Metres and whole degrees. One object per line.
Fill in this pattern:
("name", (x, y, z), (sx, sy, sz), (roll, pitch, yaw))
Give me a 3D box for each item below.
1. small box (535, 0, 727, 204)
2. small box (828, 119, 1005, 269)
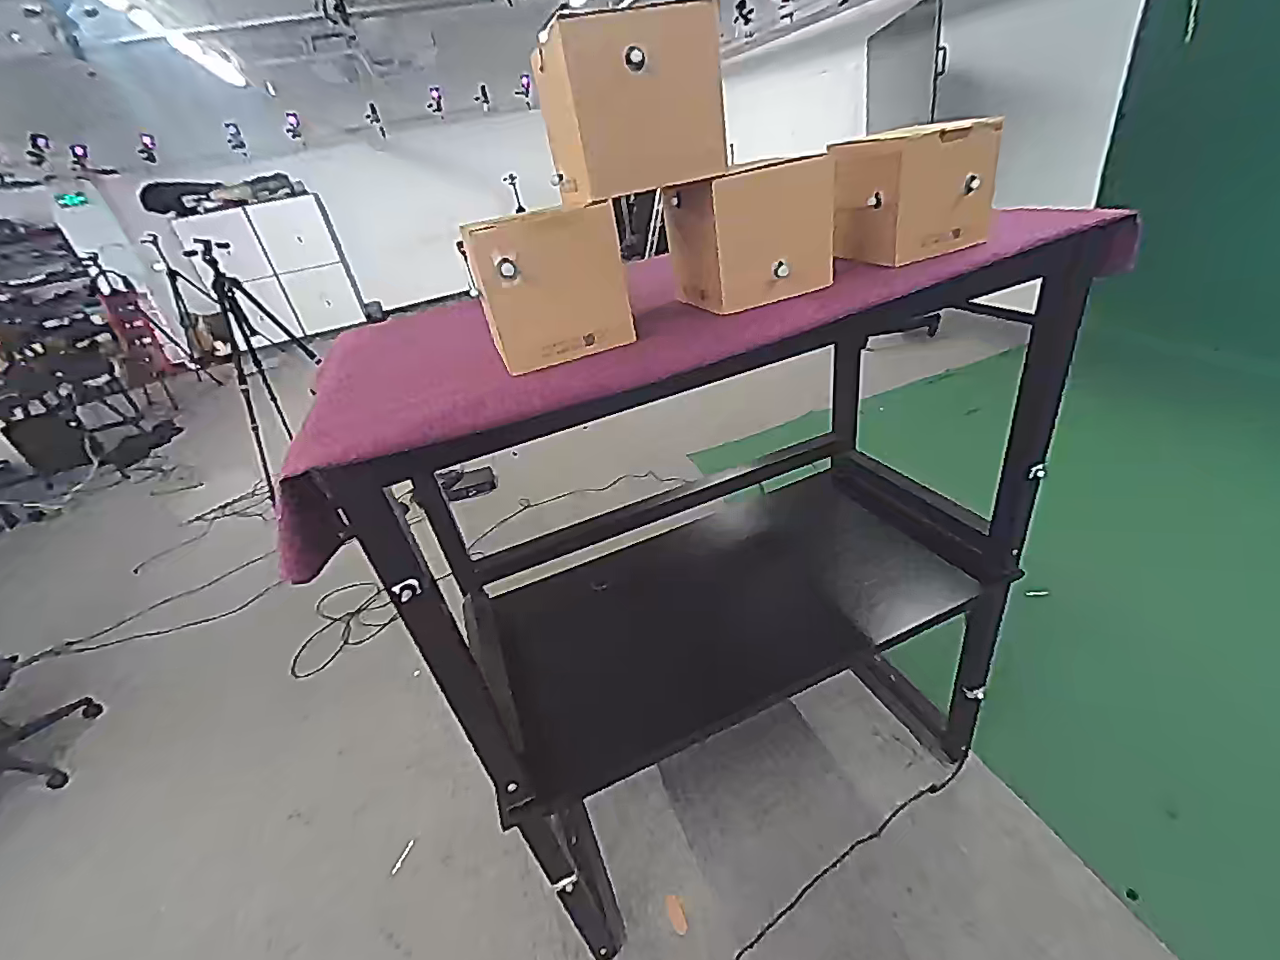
("small box", (-0.011, -0.438, 0.651), (0.179, 0.176, 0.168), (-17, 30, -12))
("small box", (0.410, -0.432, 0.829), (0.168, 0.176, 0.179), (-17, 31, -10))
